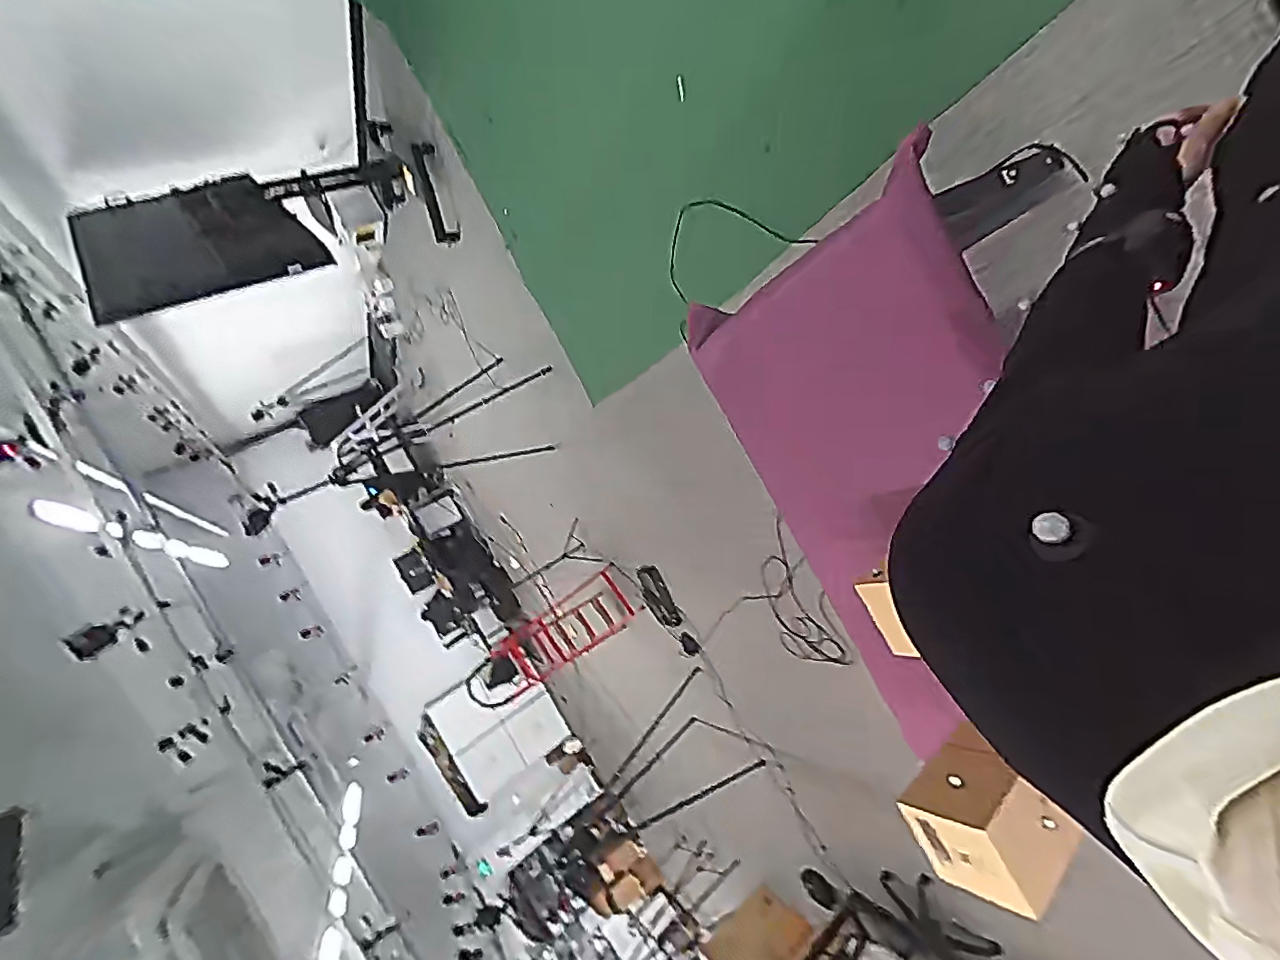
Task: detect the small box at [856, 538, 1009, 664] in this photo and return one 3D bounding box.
[{"bbox_3d":[0.560,0.225,1.027,0.168,0.176,0.179,59,152,0],"label":"small box"}]

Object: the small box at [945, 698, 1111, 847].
[{"bbox_3d":[0.736,0.540,1.030,0.168,0.176,0.179,59,150,0],"label":"small box"}]
